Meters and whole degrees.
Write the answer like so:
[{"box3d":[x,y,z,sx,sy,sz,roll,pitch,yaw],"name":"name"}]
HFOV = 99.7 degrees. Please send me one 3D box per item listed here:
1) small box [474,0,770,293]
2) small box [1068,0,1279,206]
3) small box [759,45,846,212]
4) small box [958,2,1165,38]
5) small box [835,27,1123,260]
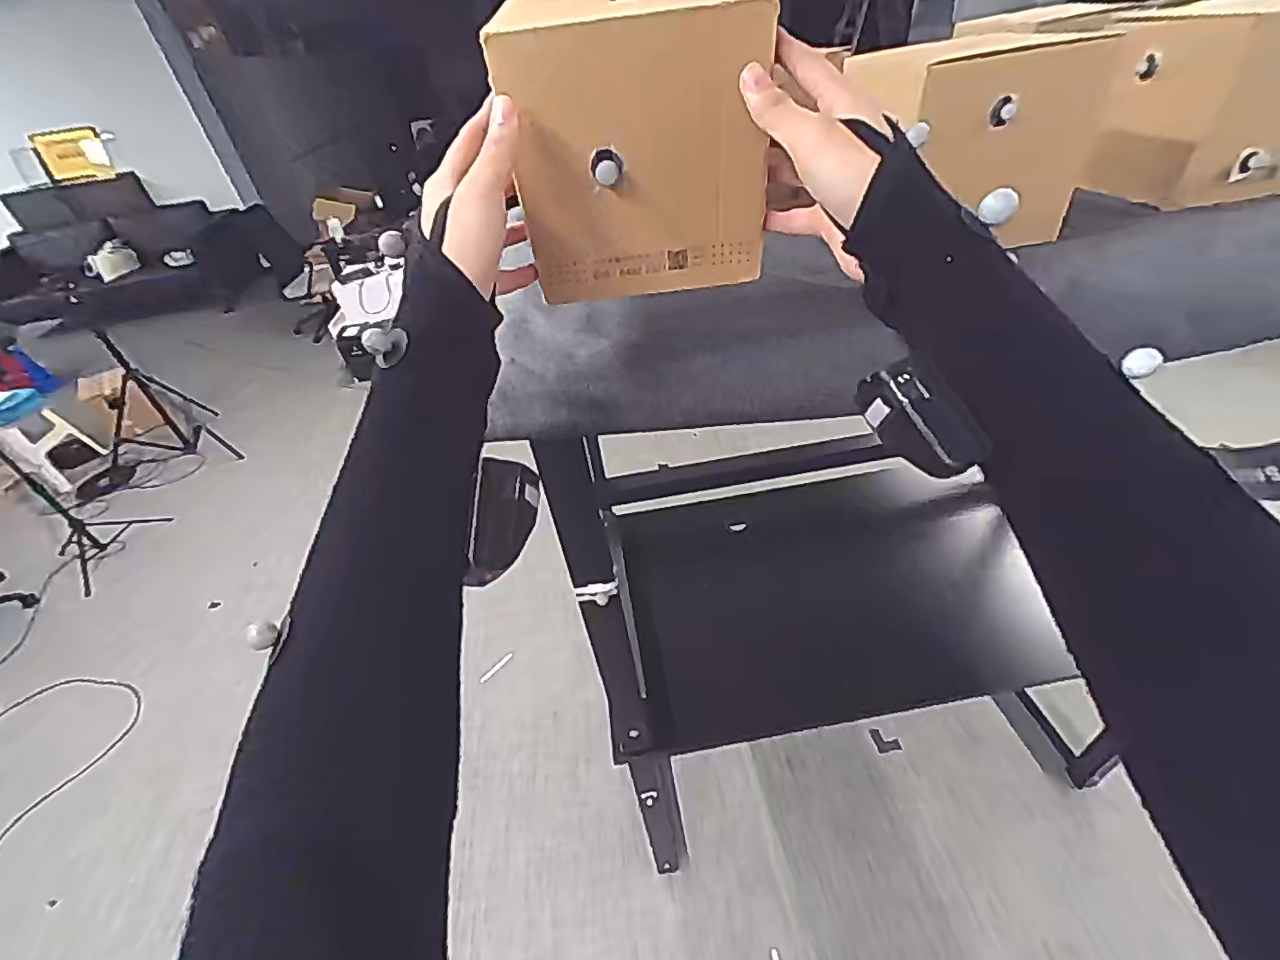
[{"box3d":[-0.006,-0.253,0.401,0.168,0.176,0.179,-6,46,2],"name":"small box"},{"box3d":[0.616,-0.410,0.585,0.168,0.176,0.179,-10,39,-1],"name":"small box"},{"box3d":[0.157,-0.475,0.741,0.168,0.176,0.179,-13,40,-6],"name":"small box"},{"box3d":[0.556,-0.555,0.768,0.179,0.176,0.168,-10,39,-3],"name":"small box"},{"box3d":[0.312,-0.337,0.550,0.179,0.176,0.168,-9,40,-1],"name":"small box"}]
